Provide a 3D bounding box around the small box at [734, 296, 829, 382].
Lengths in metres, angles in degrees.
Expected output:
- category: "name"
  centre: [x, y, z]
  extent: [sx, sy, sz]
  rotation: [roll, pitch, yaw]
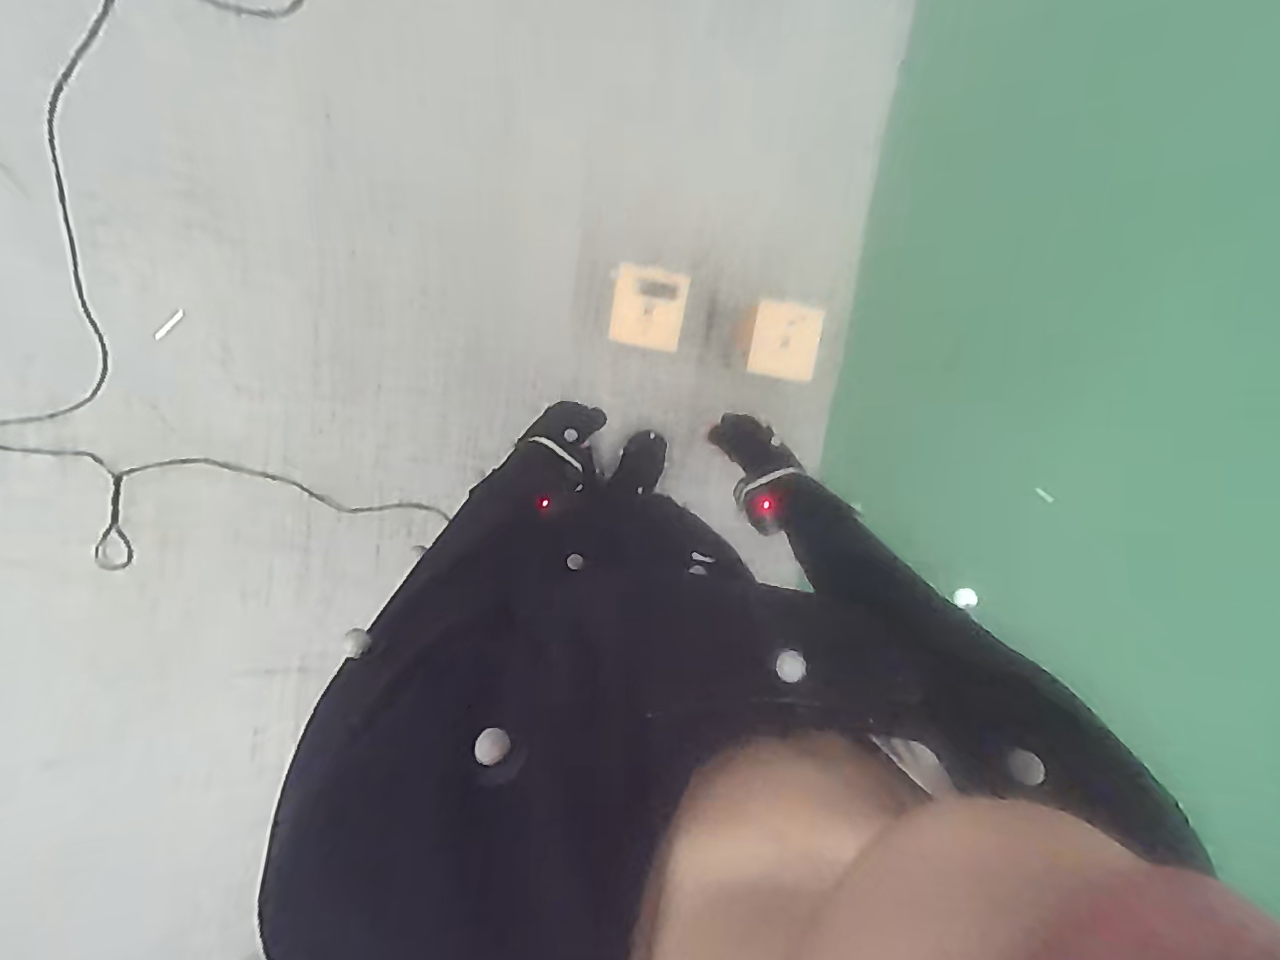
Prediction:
- category: "small box"
  centre: [0.341, -0.341, 1.339]
  extent: [0.168, 0.176, 0.179]
  rotation: [8, 99, -7]
